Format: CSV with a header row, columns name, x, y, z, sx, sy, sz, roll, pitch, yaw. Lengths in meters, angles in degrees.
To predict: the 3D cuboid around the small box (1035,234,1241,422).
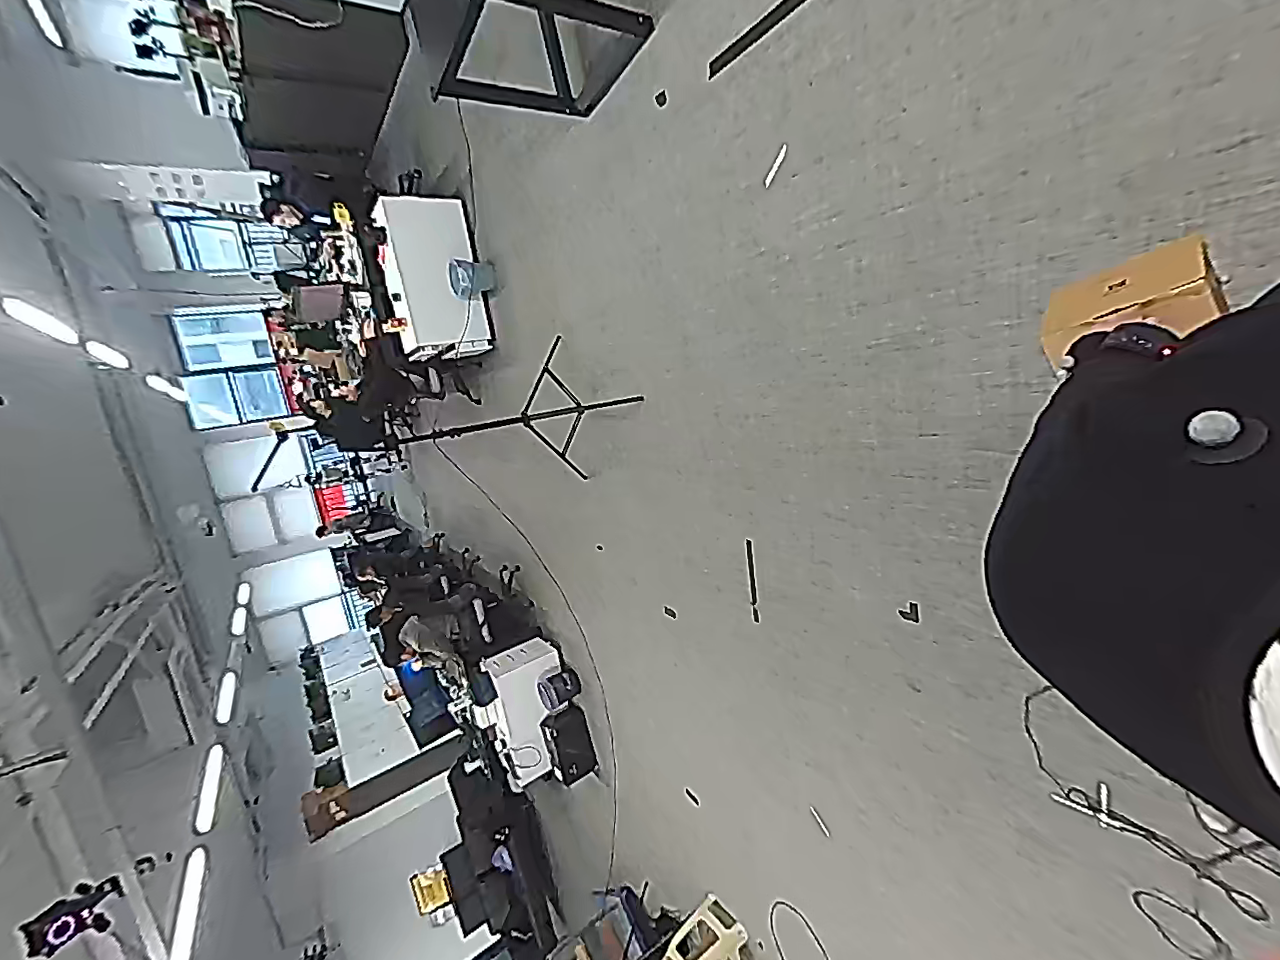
name,x,y,z,sx,sy,sz,roll,pitch,yaw
small box,0.686,-0.198,0.748,0.168,0.179,0.176,-19,110,51
